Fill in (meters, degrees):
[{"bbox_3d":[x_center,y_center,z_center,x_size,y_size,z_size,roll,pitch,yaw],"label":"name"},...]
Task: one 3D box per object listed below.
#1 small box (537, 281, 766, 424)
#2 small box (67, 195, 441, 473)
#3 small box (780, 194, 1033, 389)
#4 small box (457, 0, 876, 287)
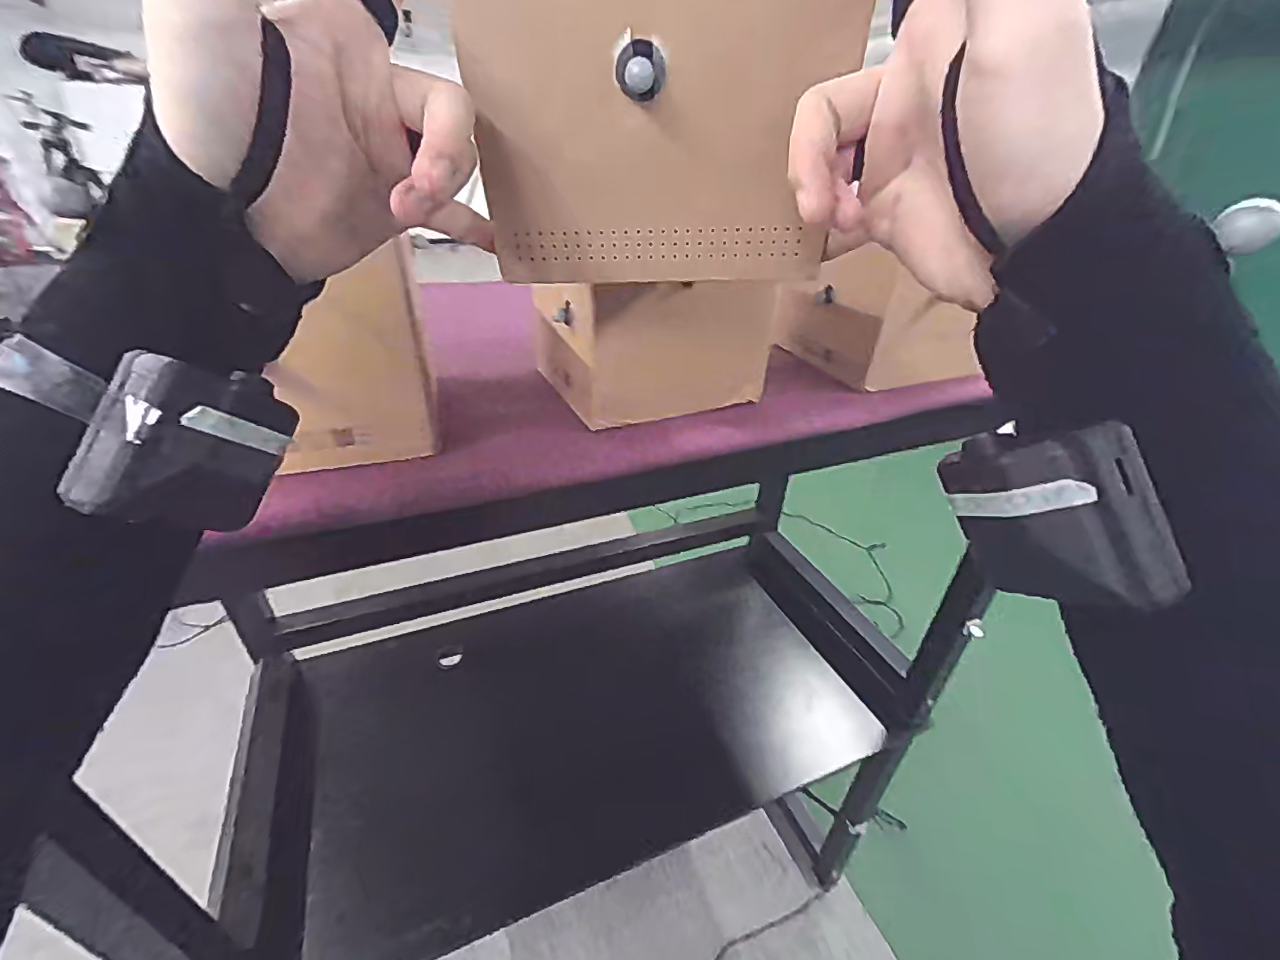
[{"bbox_3d":[0.006,-0.163,0.507,0.179,0.176,0.168,-12,35,-23],"label":"small box"},{"bbox_3d":[-0.254,-0.115,0.414,0.168,0.176,0.179,-10,33,-18],"label":"small box"},{"bbox_3d":[0.273,-0.212,0.600,0.179,0.176,0.168,-13,36,-20],"label":"small box"},{"bbox_3d":[0.015,-0.220,0.302,0.179,0.176,0.168,0,43,3],"label":"small box"}]
